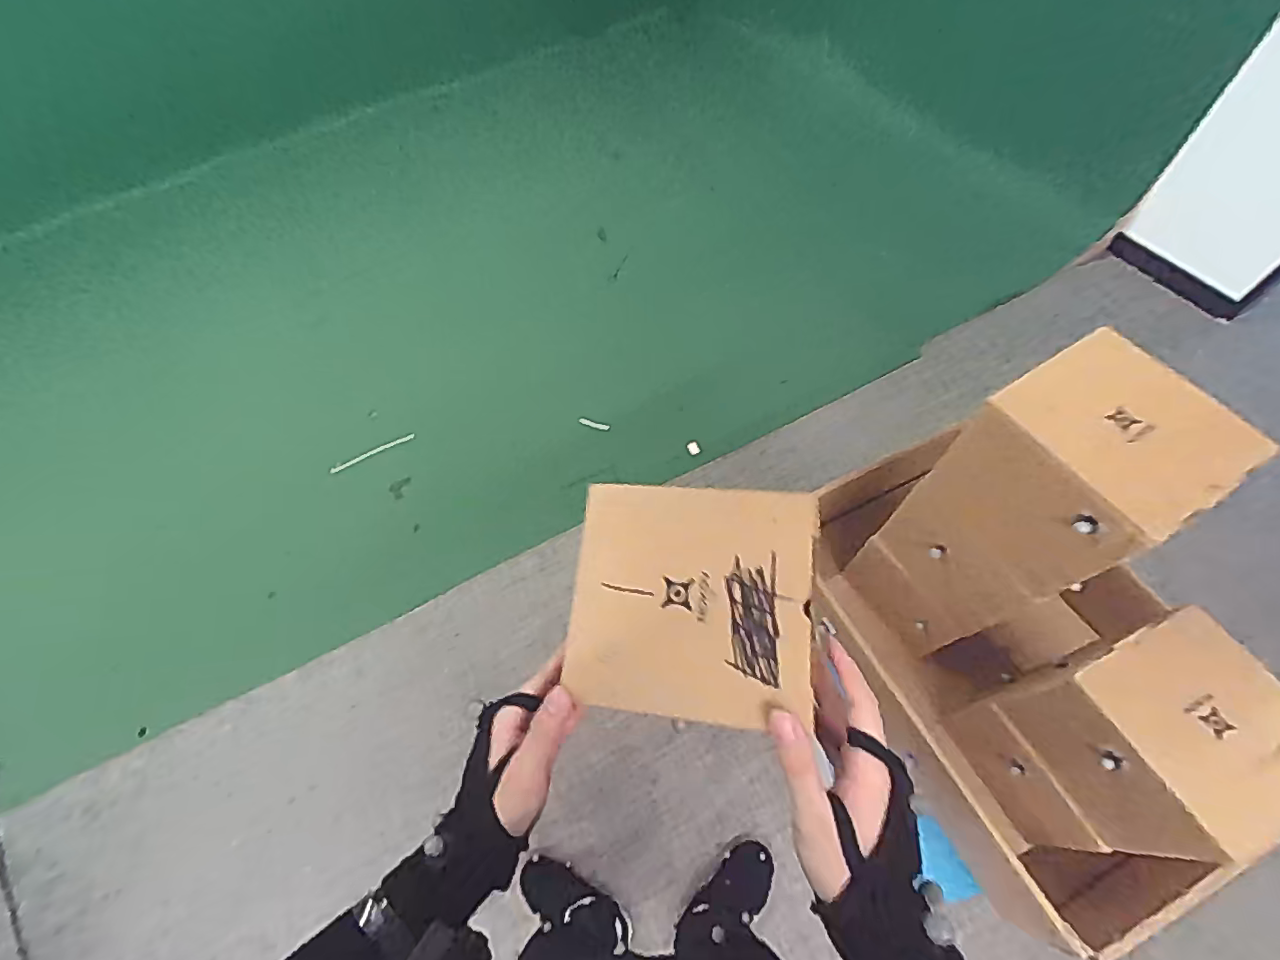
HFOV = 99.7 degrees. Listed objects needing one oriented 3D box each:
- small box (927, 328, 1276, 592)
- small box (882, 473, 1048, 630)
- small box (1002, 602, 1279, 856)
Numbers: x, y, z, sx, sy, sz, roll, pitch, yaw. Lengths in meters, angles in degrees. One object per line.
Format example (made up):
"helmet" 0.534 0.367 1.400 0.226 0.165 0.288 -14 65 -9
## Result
"small box" 0.441 -0.014 0.556 0.168 0.176 0.179 -30 65 -12
"small box" 0.451 0.066 0.699 0.168 0.176 0.179 -30 63 -11
"small box" 0.542 0.264 0.577 0.168 0.176 0.179 -24 60 -8
